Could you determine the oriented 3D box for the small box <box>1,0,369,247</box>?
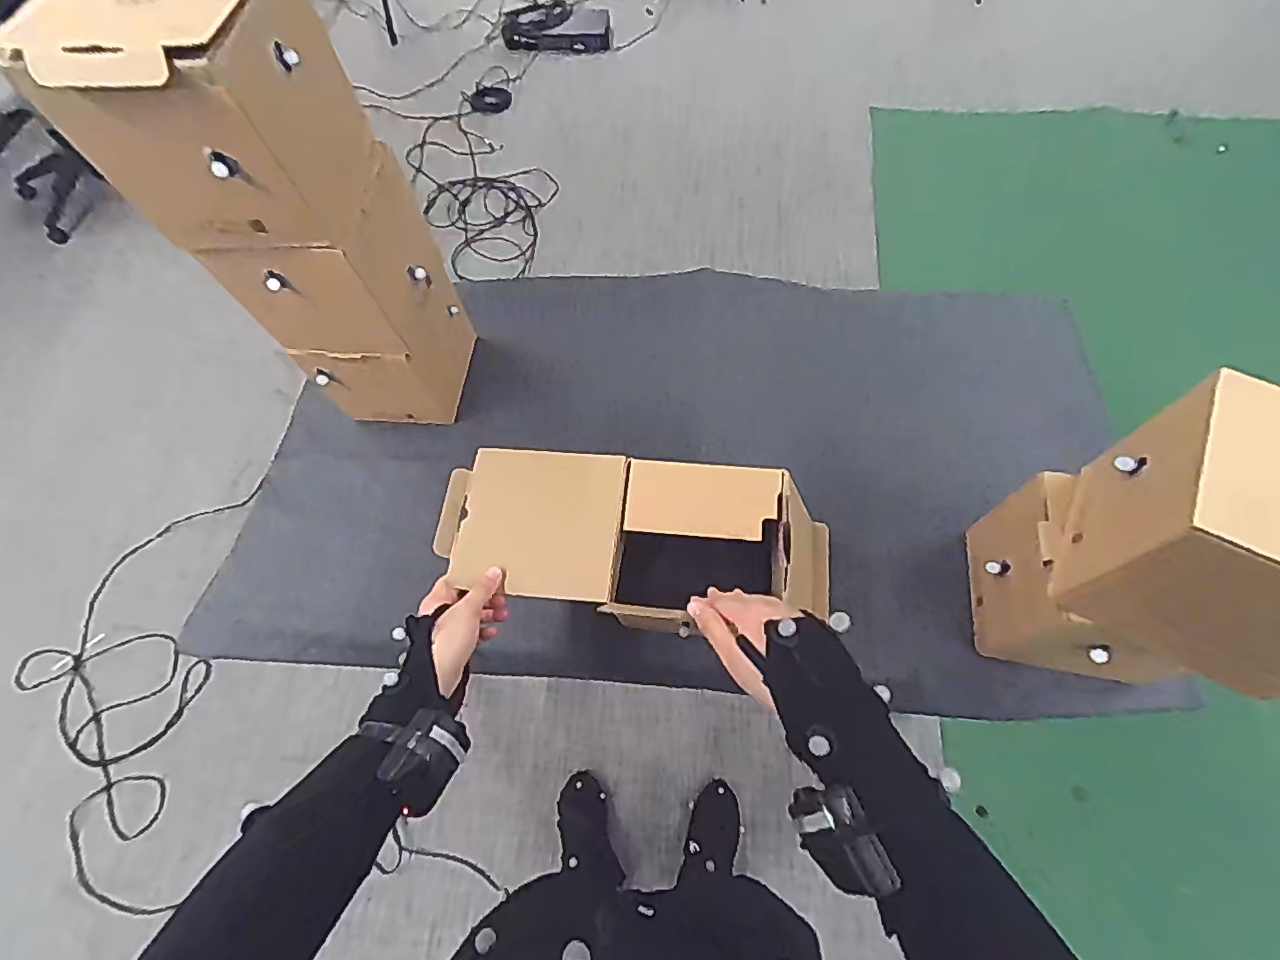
[{"bbox_3d":[-0.380,-0.336,0.497,0.168,0.176,0.179,1,64,2],"label":"small box"}]

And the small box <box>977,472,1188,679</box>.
[{"bbox_3d":[0.498,0.111,0.595,0.179,0.176,0.168,8,63,8],"label":"small box"}]

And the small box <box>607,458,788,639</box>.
[{"bbox_3d":[0.070,0.087,0.632,0.179,0.176,0.168,4,68,8],"label":"small box"}]

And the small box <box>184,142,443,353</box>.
[{"bbox_3d":[-0.365,-0.269,0.643,0.179,0.176,0.168,4,66,5],"label":"small box"}]

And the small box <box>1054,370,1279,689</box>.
[{"bbox_3d":[0.492,0.050,0.442,0.179,0.176,0.168,29,67,16],"label":"small box"}]
